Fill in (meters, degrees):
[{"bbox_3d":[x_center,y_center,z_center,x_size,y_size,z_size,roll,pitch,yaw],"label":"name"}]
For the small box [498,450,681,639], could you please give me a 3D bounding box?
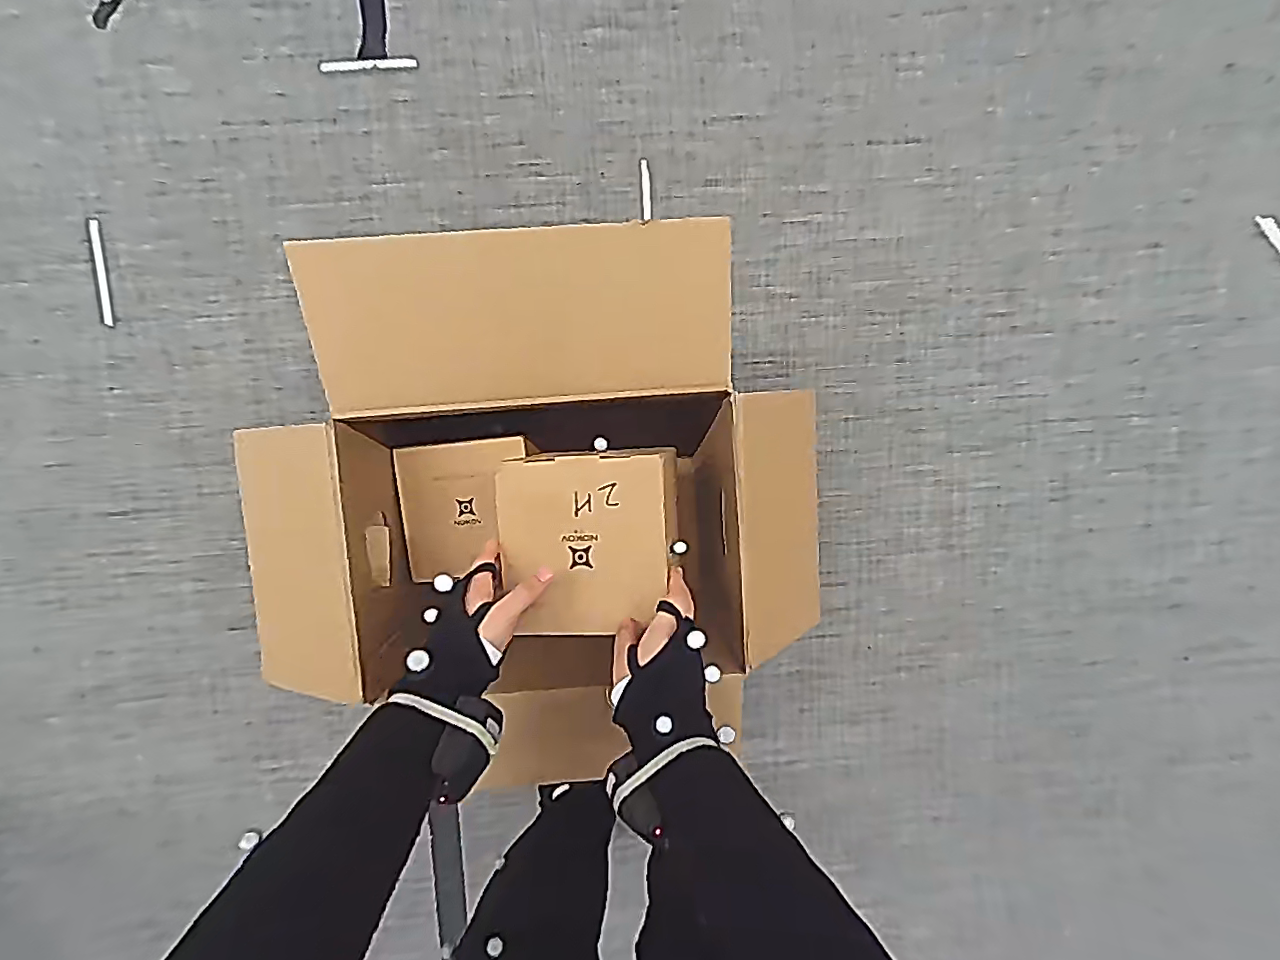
[{"bbox_3d":[-0.043,0.061,0.602,0.168,0.176,0.179,-2,95,8],"label":"small box"}]
